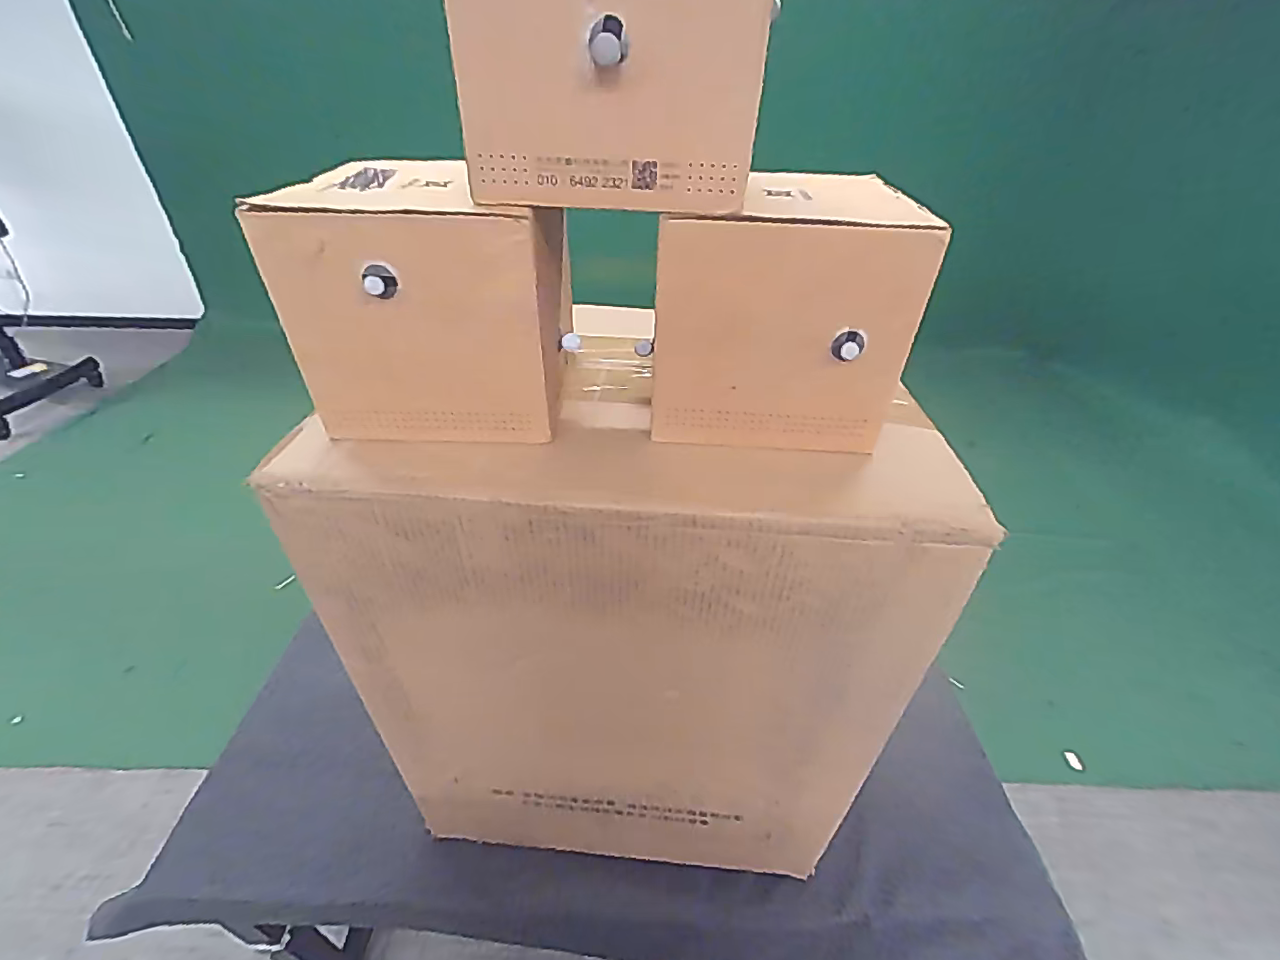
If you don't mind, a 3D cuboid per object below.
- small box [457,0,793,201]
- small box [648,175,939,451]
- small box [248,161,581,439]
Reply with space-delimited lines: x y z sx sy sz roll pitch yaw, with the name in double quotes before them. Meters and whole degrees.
"small box" -0.014 -0.290 0.352 0.179 0.176 0.168 -18 42 -22
"small box" 0.100 -0.137 0.439 0.179 0.176 0.168 3 38 3
"small box" -0.151 -0.148 0.440 0.179 0.176 0.168 4 41 4
